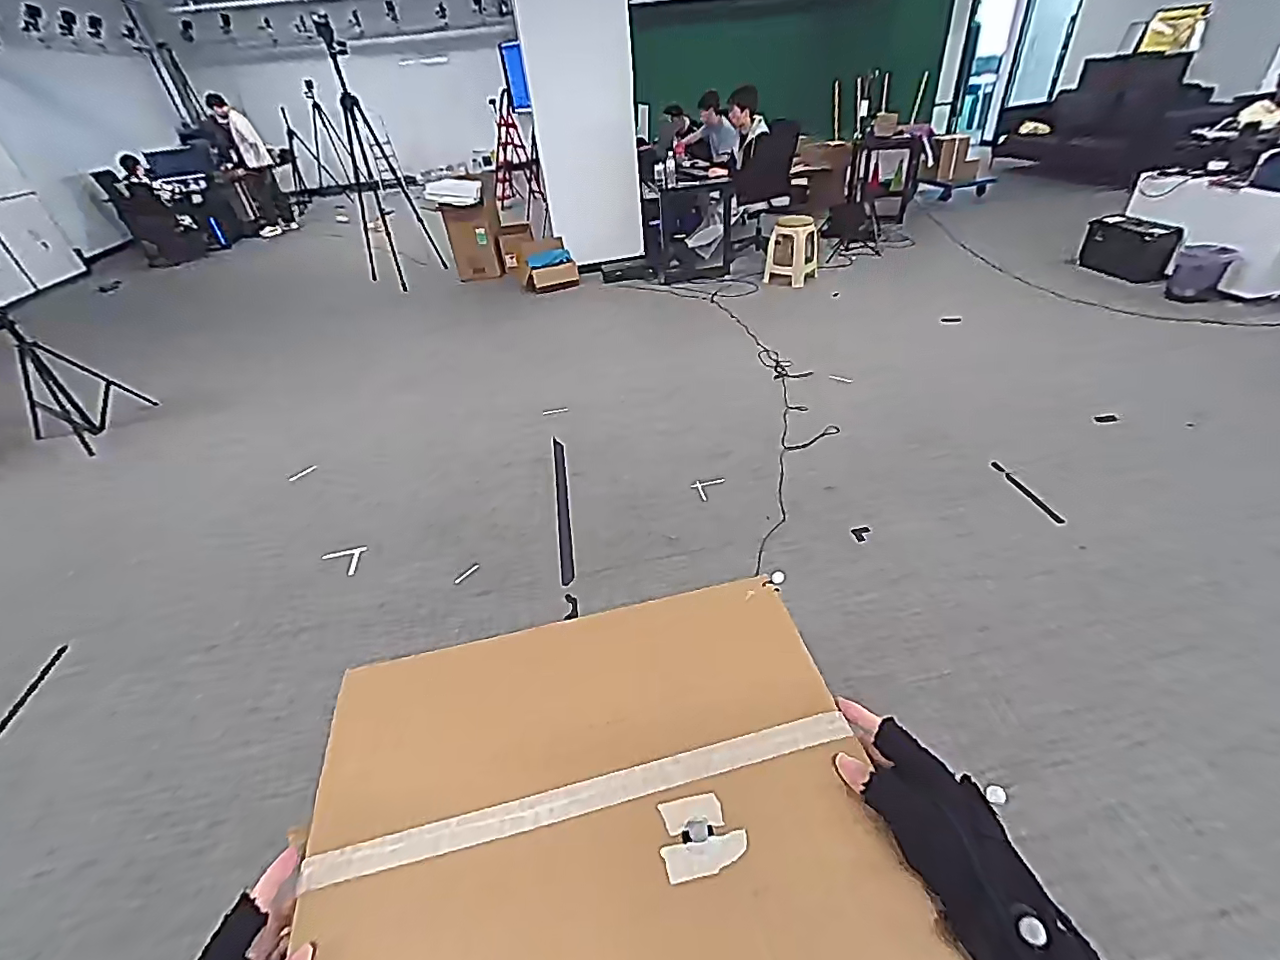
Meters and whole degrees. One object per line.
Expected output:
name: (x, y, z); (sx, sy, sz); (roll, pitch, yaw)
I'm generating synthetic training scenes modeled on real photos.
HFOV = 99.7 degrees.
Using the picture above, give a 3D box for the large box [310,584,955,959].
large box: (-0.024, 0.351, 0.507); (0.408, 0.320, 0.320); (-11, 42, -8)
